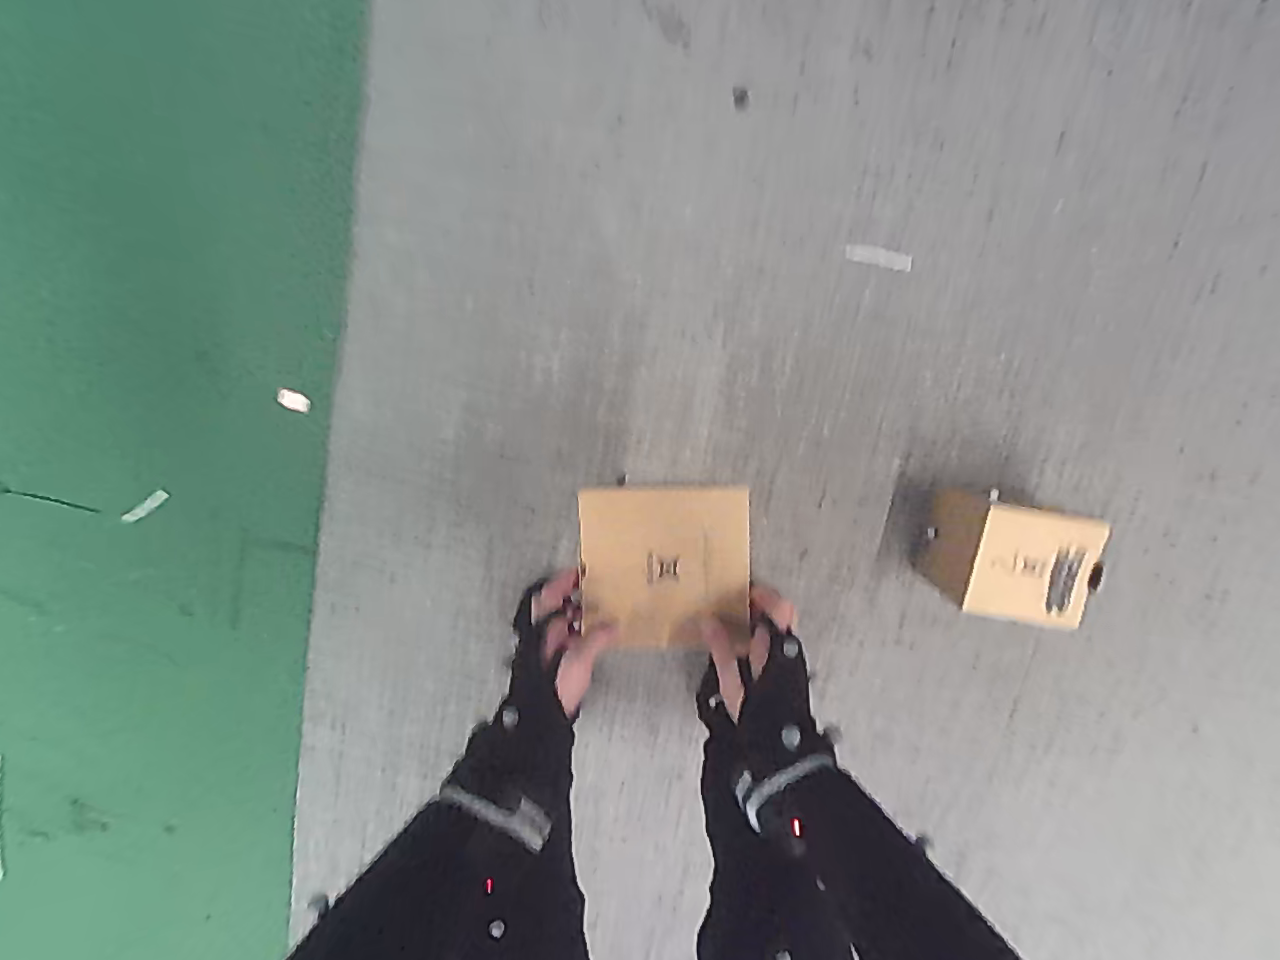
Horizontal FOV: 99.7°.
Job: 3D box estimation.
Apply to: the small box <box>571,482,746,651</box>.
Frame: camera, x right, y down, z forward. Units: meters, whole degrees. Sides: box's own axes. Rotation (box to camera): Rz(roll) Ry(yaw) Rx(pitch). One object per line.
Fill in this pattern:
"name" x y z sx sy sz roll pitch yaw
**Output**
"small box" 0.018 0.087 0.617 0.179 0.176 0.168 0 91 -2
